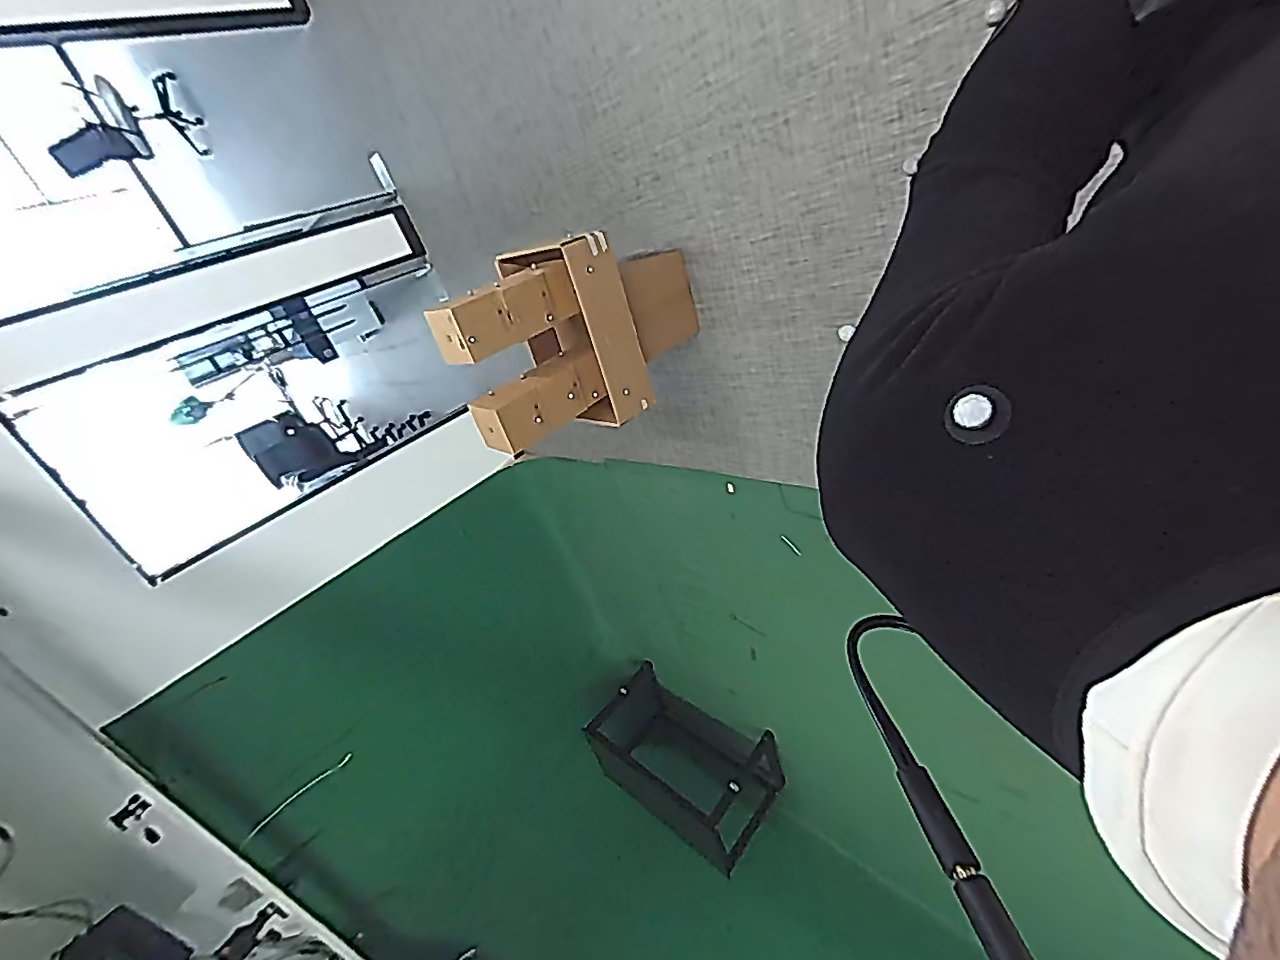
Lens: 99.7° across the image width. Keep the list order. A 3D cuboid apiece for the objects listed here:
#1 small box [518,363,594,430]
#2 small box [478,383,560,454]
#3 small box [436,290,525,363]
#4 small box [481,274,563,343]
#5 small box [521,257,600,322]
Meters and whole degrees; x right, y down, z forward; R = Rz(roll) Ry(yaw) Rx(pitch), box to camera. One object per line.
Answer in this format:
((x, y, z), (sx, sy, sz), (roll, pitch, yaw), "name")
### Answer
((-0.288, -0.296, 1.877), (0.179, 0.176, 0.168), (17, 135, 43), "small box")
((-0.397, -0.211, 1.790), (0.179, 0.176, 0.168), (16, 135, 43), "small box")
((-0.481, -0.466, 1.645), (0.179, 0.176, 0.168), (13, 131, 45), "small box")
((-0.368, -0.550, 1.729), (0.179, 0.176, 0.168), (16, 133, 43), "small box")
((-0.264, -0.639, 1.820), (0.179, 0.176, 0.168), (14, 132, 44), "small box")
